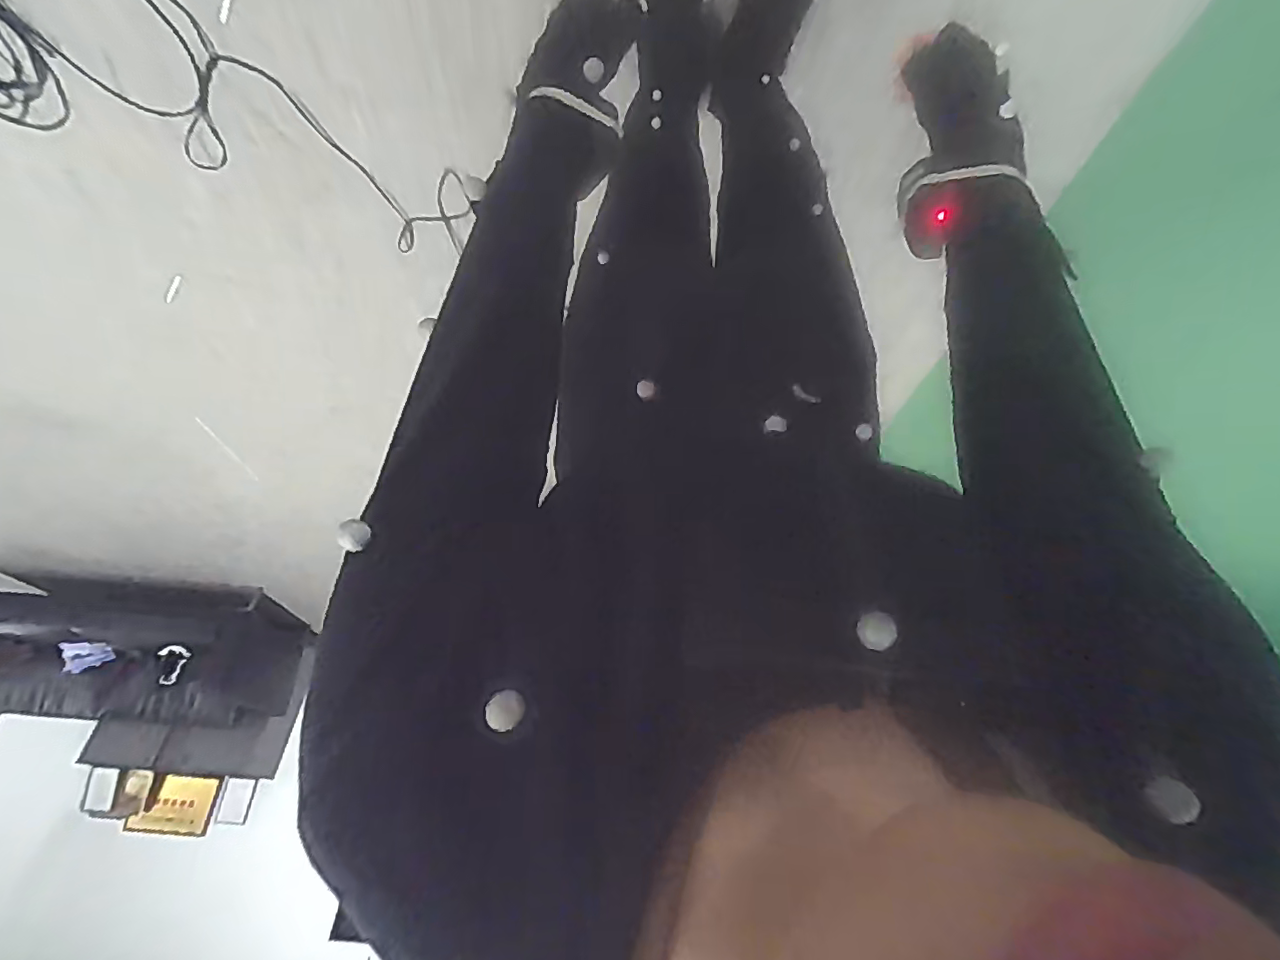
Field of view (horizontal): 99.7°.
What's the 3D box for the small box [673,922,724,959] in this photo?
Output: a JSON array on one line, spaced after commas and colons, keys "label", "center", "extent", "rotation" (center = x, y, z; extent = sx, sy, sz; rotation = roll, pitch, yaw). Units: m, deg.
[{"label": "small box", "center": [0.194, 1.602, 1.808], "extent": [0.168, 0.176, 0.179], "rotation": [3, 147, 6]}]
